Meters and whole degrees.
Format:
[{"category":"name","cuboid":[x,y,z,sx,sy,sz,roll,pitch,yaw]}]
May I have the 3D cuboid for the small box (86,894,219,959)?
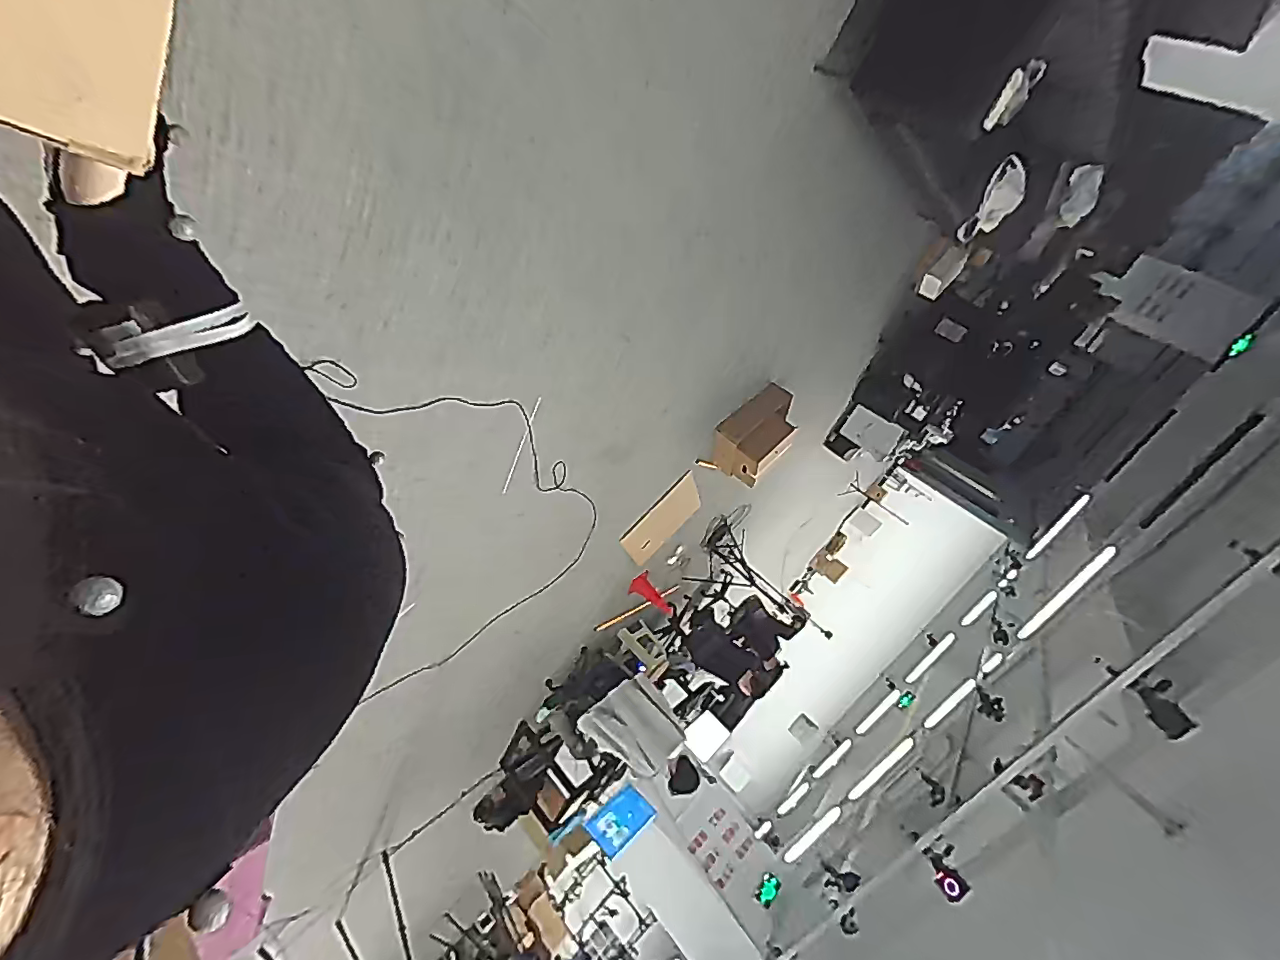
[{"category":"small box","cuboid":[-1.042,1.047,1.155,0.179,0.176,0.168,-10,135,-53]}]
